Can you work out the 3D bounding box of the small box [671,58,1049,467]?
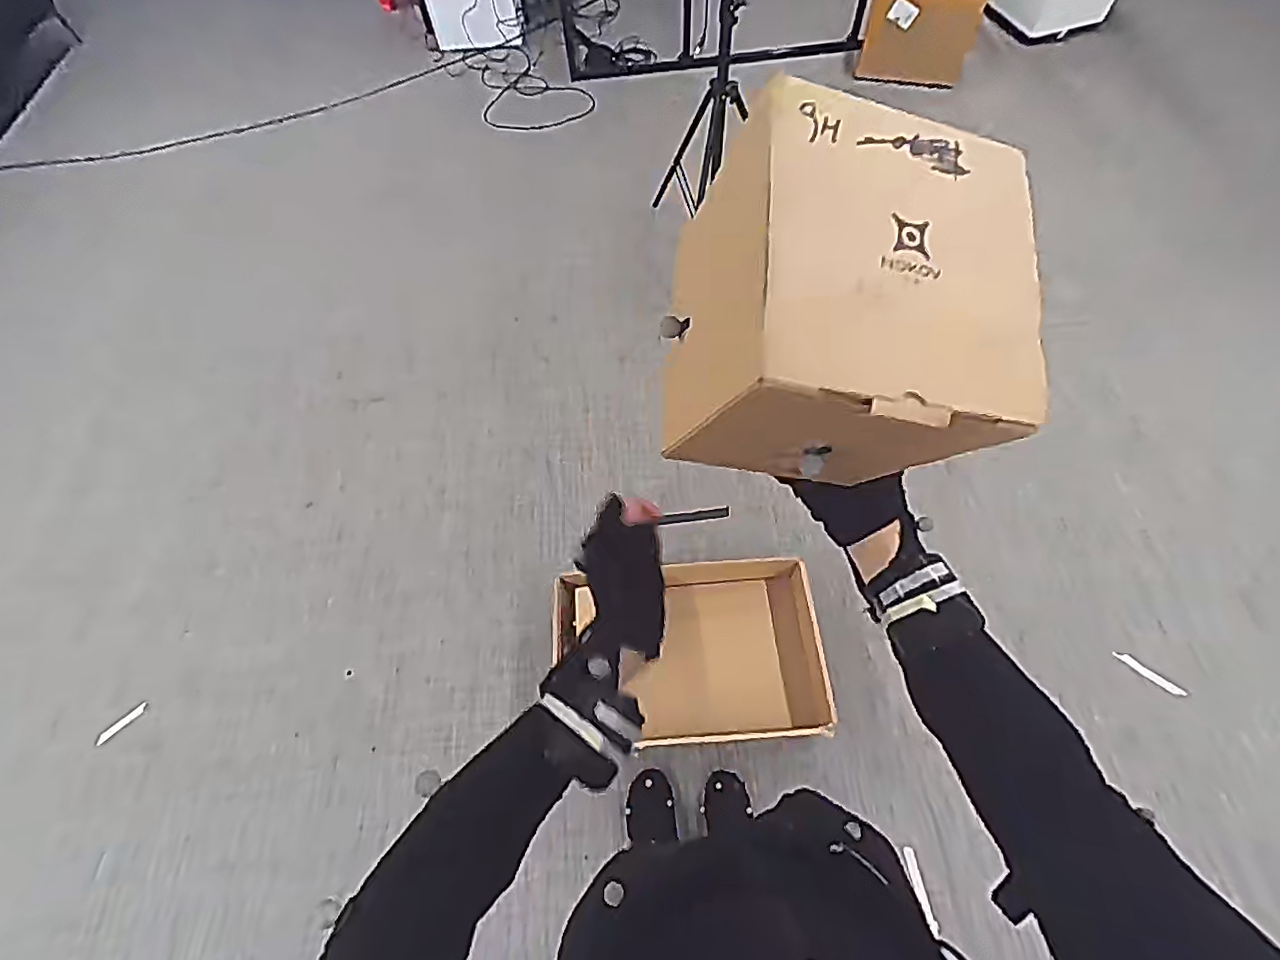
[{"bbox_3d":[0.125,-0.113,0.360,0.168,0.176,0.179,8,78,-13],"label":"small box"}]
